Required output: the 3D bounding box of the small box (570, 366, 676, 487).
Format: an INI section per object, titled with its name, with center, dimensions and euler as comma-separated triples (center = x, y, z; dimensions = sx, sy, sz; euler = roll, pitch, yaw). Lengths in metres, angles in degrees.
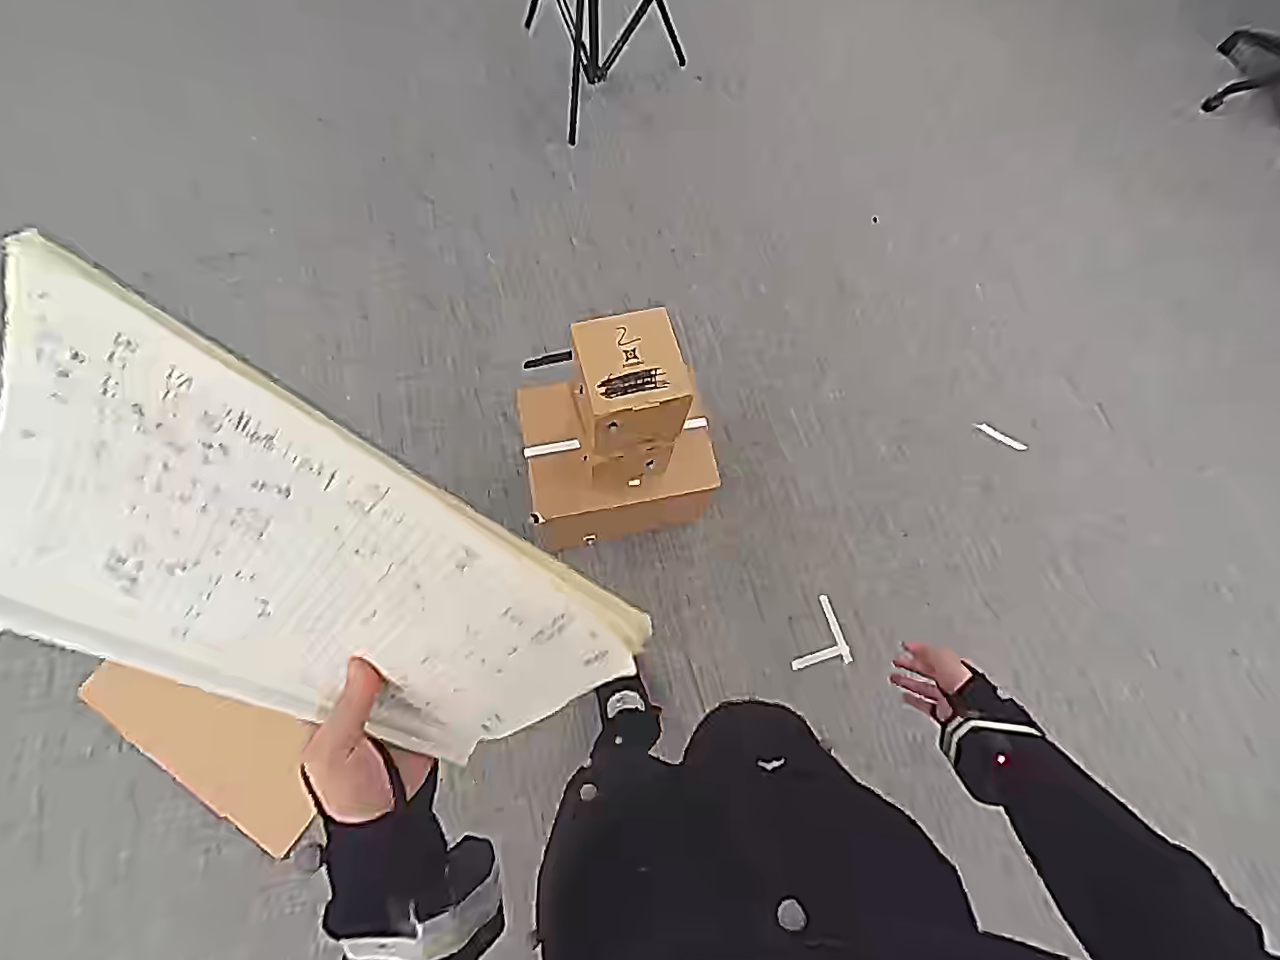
[small box]
center = -0.038, -0.098, 1.091
dimensions = 0.168, 0.176, 0.179
euler = -15, 72, -11
